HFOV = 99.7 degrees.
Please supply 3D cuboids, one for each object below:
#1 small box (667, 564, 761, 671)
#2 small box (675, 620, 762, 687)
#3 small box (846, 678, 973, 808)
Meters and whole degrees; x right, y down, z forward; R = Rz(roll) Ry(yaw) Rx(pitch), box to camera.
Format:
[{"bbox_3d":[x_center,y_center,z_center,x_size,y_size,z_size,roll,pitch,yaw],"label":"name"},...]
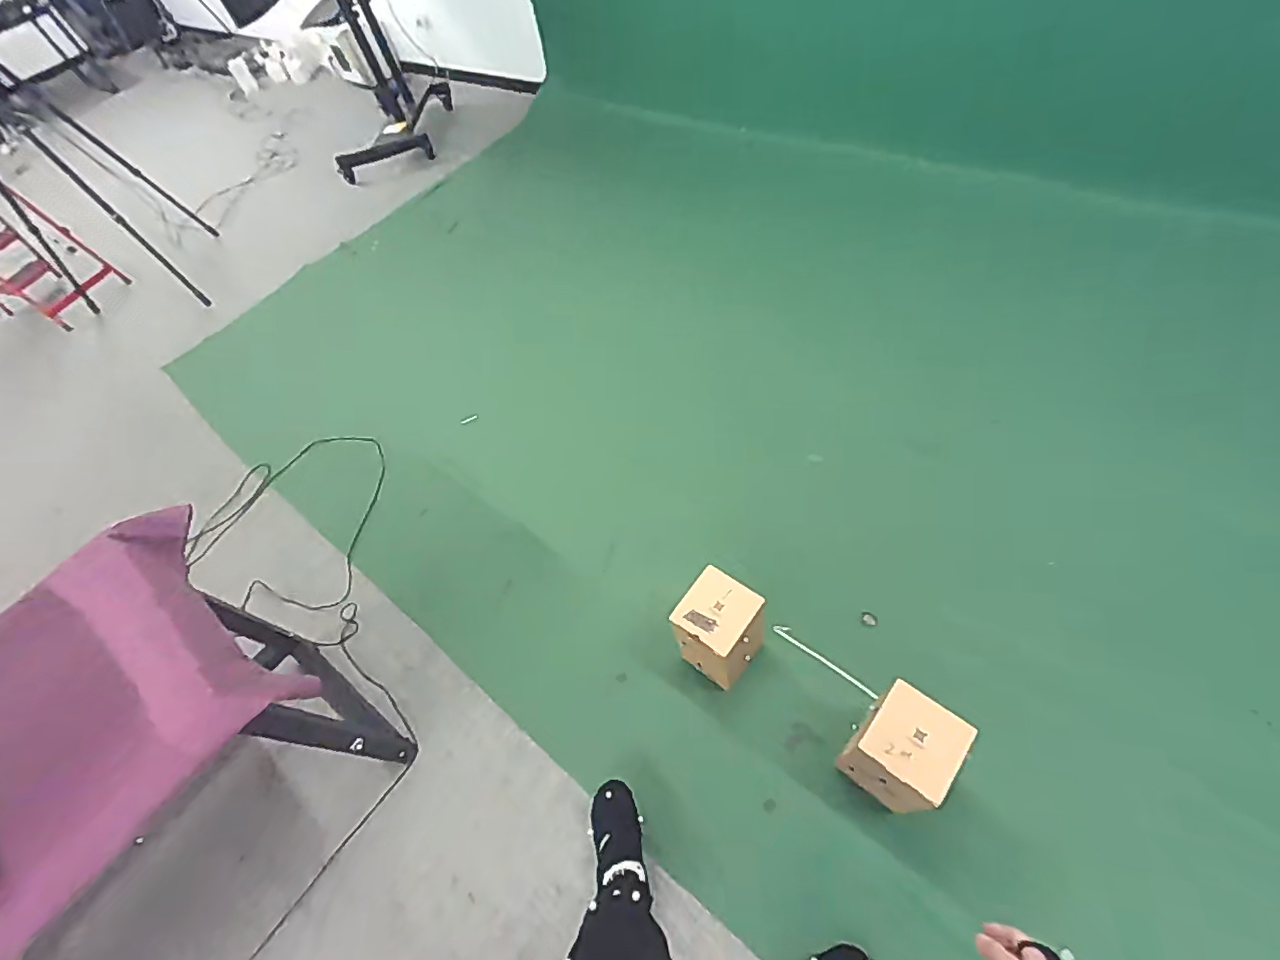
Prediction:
[{"bbox_3d":[0.191,0.350,1.359,0.168,0.176,0.179,31,68,27],"label":"small box"},{"bbox_3d":[0.217,0.439,1.494,0.168,0.176,0.179,31,68,27],"label":"small box"},{"bbox_3d":[0.560,0.560,1.148,0.168,0.176,0.179,33,68,27],"label":"small box"}]
